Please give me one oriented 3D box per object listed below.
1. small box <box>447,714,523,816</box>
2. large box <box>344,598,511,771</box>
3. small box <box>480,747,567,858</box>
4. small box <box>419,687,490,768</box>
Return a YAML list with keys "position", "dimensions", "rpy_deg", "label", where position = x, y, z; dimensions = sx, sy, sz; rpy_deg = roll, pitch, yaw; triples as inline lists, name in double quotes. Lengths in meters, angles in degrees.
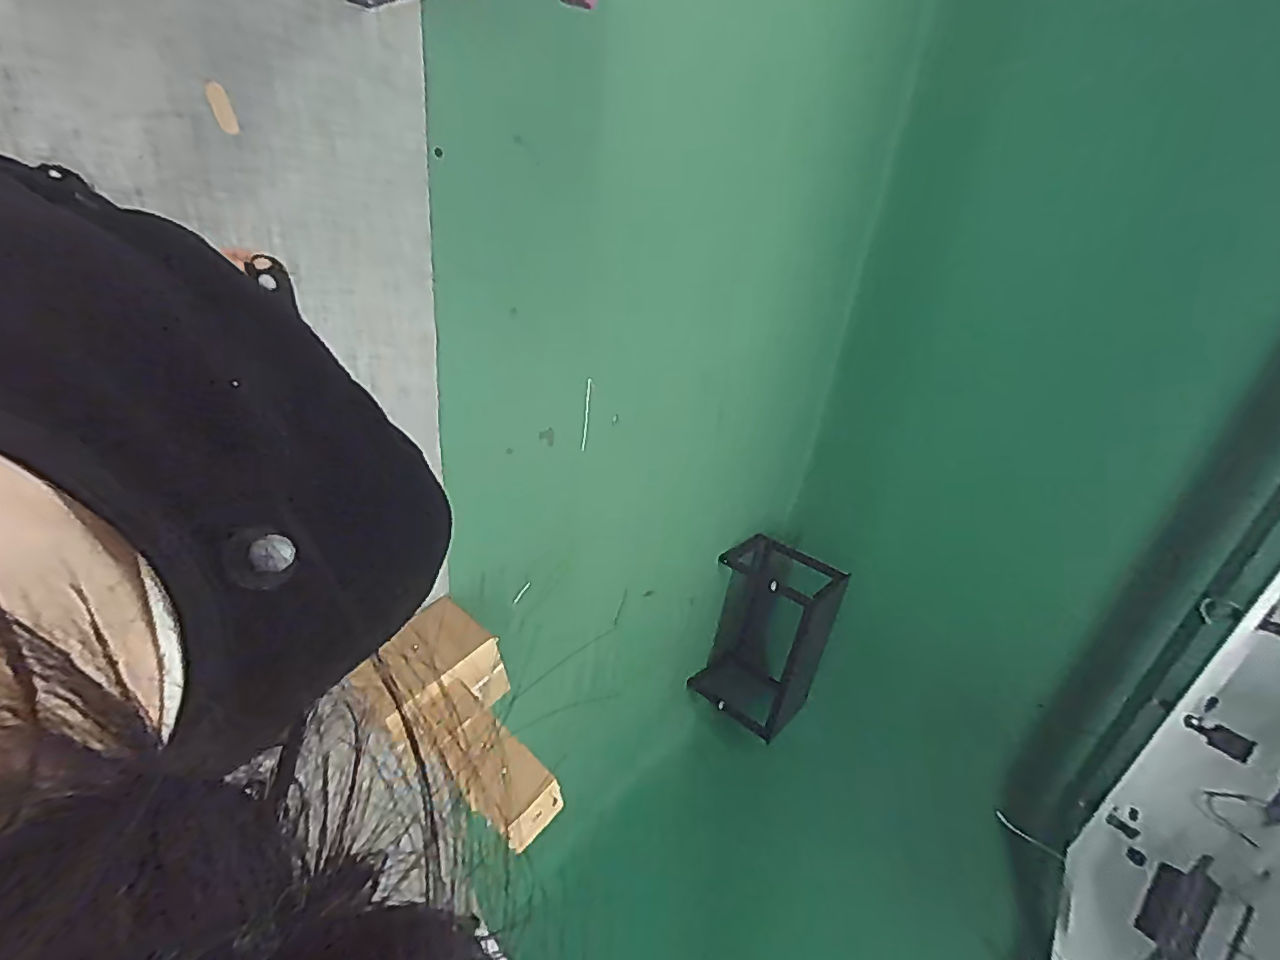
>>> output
- position: [-0.462, 0.859, 1.640]
  dimensions: [0.179, 0.176, 0.168]
  rpy_deg: [-35, 136, -35]
  label: "small box"
- position: [-0.734, 0.702, 1.904]
  dimensions: [0.408, 0.320, 0.320]
  rpy_deg: [-36, 138, -37]
  label: "large box"
- position: [-0.338, 0.918, 1.550]
  dimensions: [0.179, 0.176, 0.168]
  rpy_deg: [-33, 135, -35]
  label: "small box"
- position: [-0.581, 0.797, 1.734]
  dimensions: [0.168, 0.176, 0.179]
  rpy_deg: [-34, 135, -36]
  label: "small box"
